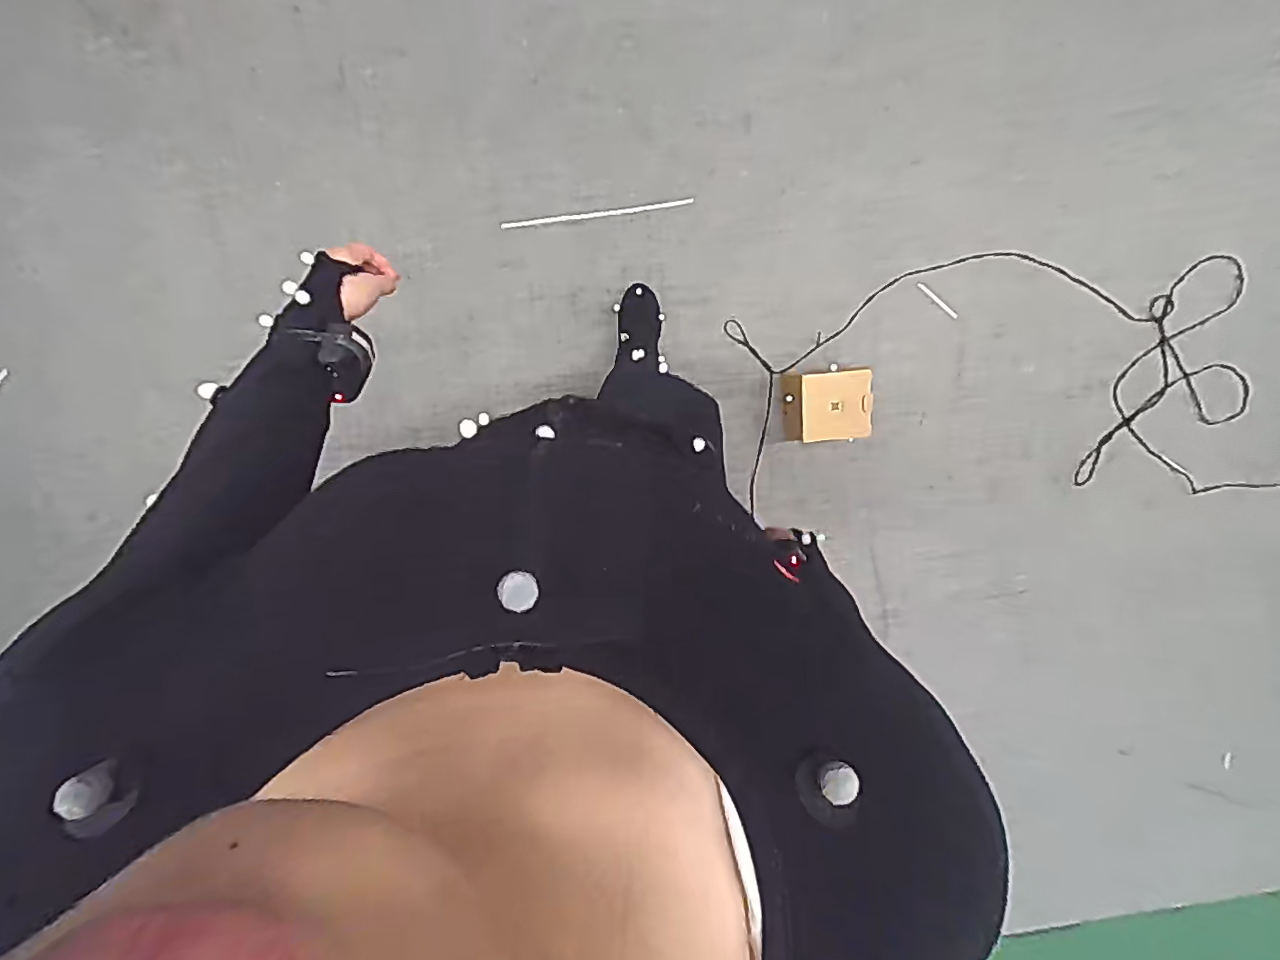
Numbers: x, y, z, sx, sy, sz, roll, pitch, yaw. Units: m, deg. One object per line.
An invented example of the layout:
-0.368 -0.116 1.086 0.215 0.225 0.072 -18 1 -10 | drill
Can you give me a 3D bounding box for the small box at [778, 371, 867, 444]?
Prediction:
0.460 -0.190 1.389 0.179 0.176 0.168 -6 103 -3 | small box
